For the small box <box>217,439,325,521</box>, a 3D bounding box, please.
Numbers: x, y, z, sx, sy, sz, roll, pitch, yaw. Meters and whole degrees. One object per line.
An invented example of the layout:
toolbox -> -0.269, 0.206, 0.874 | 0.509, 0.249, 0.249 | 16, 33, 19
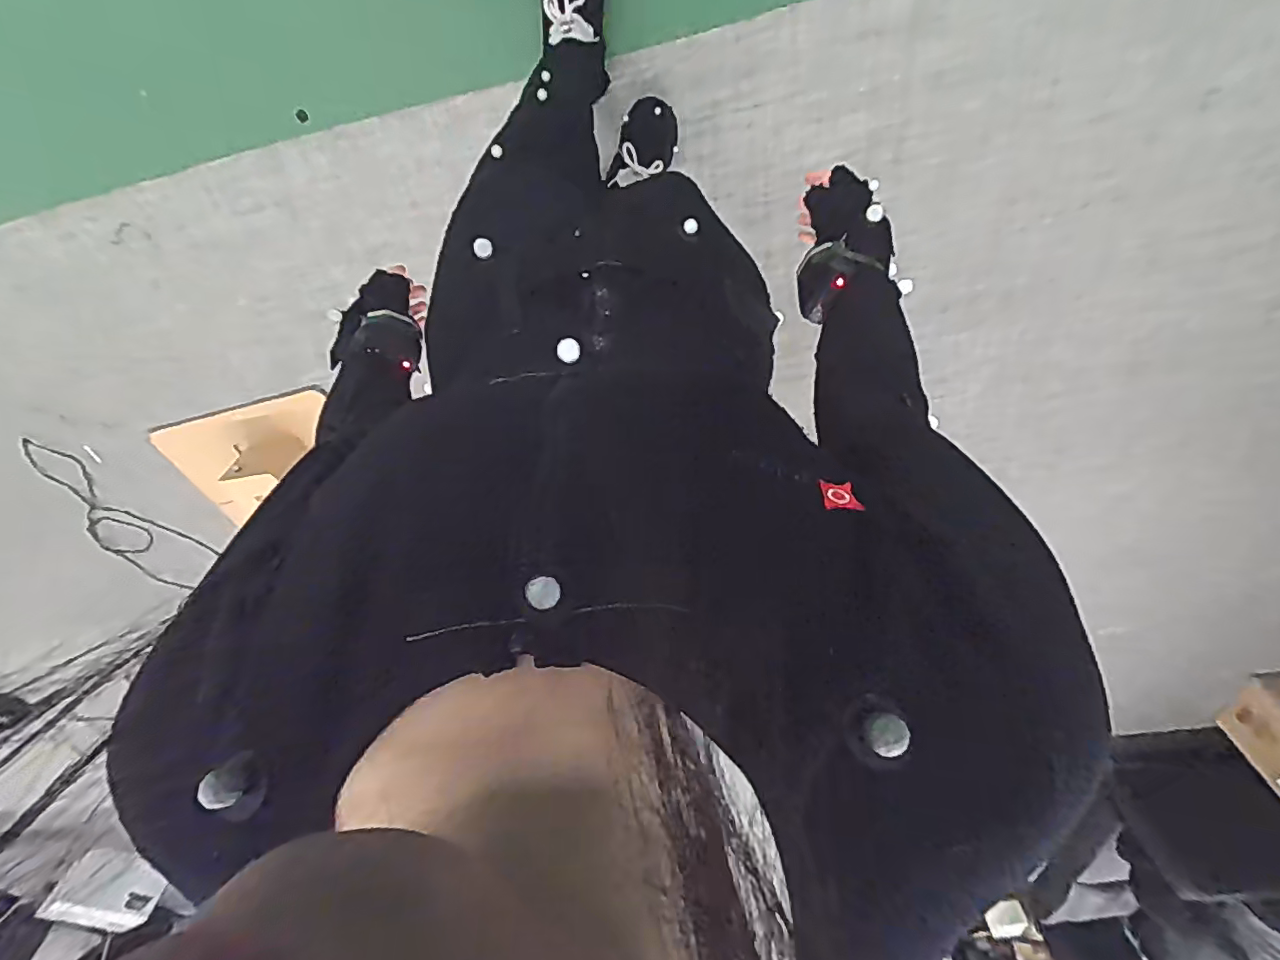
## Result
small box -> -1.098, -0.002, 1.625 | 0.179, 0.176, 0.168 | -9, 130, 6
